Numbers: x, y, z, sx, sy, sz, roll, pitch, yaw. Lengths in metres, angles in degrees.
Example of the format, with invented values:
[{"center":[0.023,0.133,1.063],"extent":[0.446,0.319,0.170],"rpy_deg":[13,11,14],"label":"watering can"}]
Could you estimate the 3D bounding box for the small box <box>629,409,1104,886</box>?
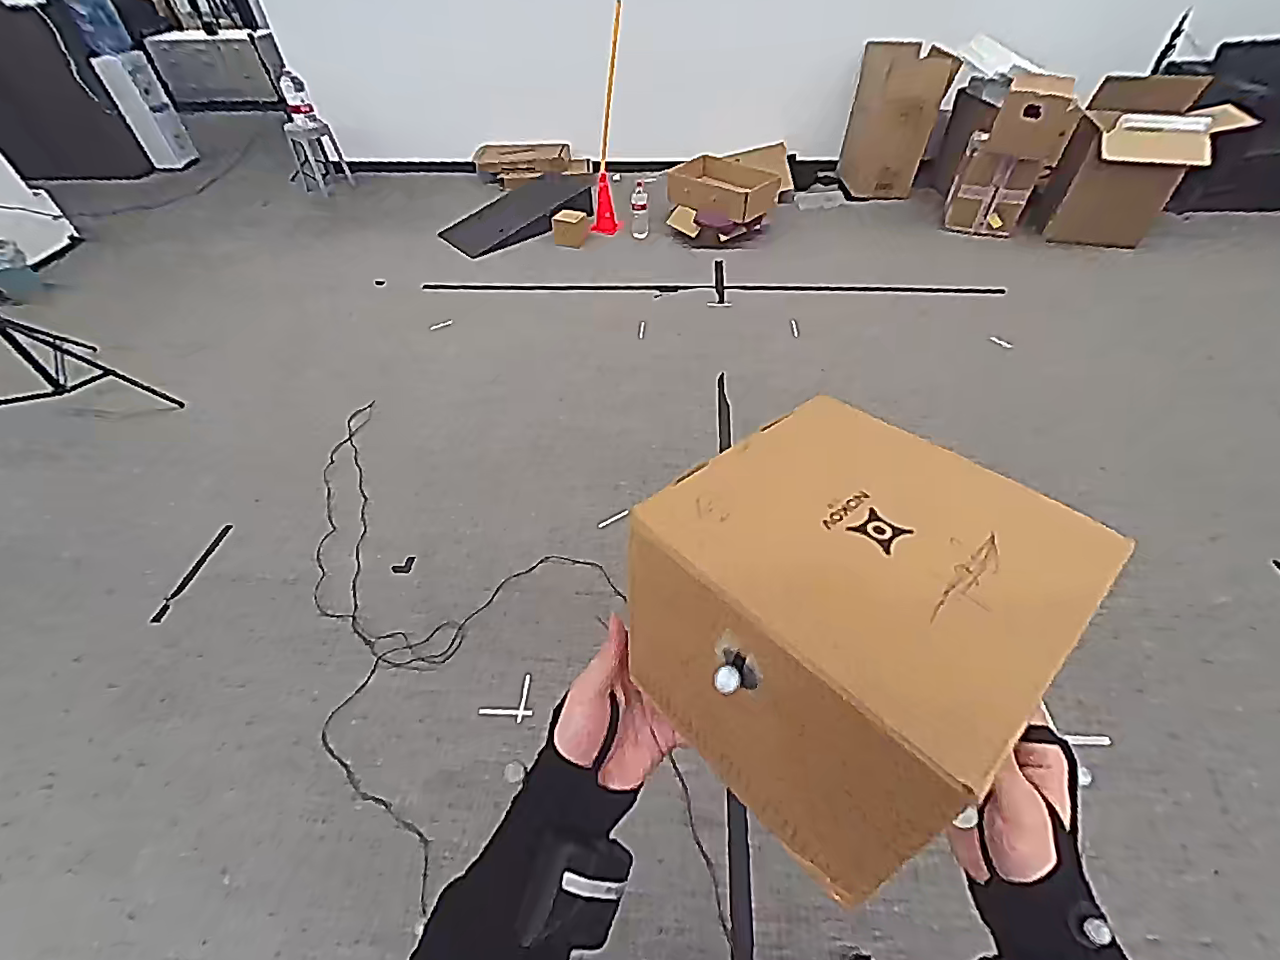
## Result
[{"center":[0.109,0.090,0.323],"extent":[0.168,0.176,0.179],"rpy_deg":[-32,50,-29],"label":"small box"}]
